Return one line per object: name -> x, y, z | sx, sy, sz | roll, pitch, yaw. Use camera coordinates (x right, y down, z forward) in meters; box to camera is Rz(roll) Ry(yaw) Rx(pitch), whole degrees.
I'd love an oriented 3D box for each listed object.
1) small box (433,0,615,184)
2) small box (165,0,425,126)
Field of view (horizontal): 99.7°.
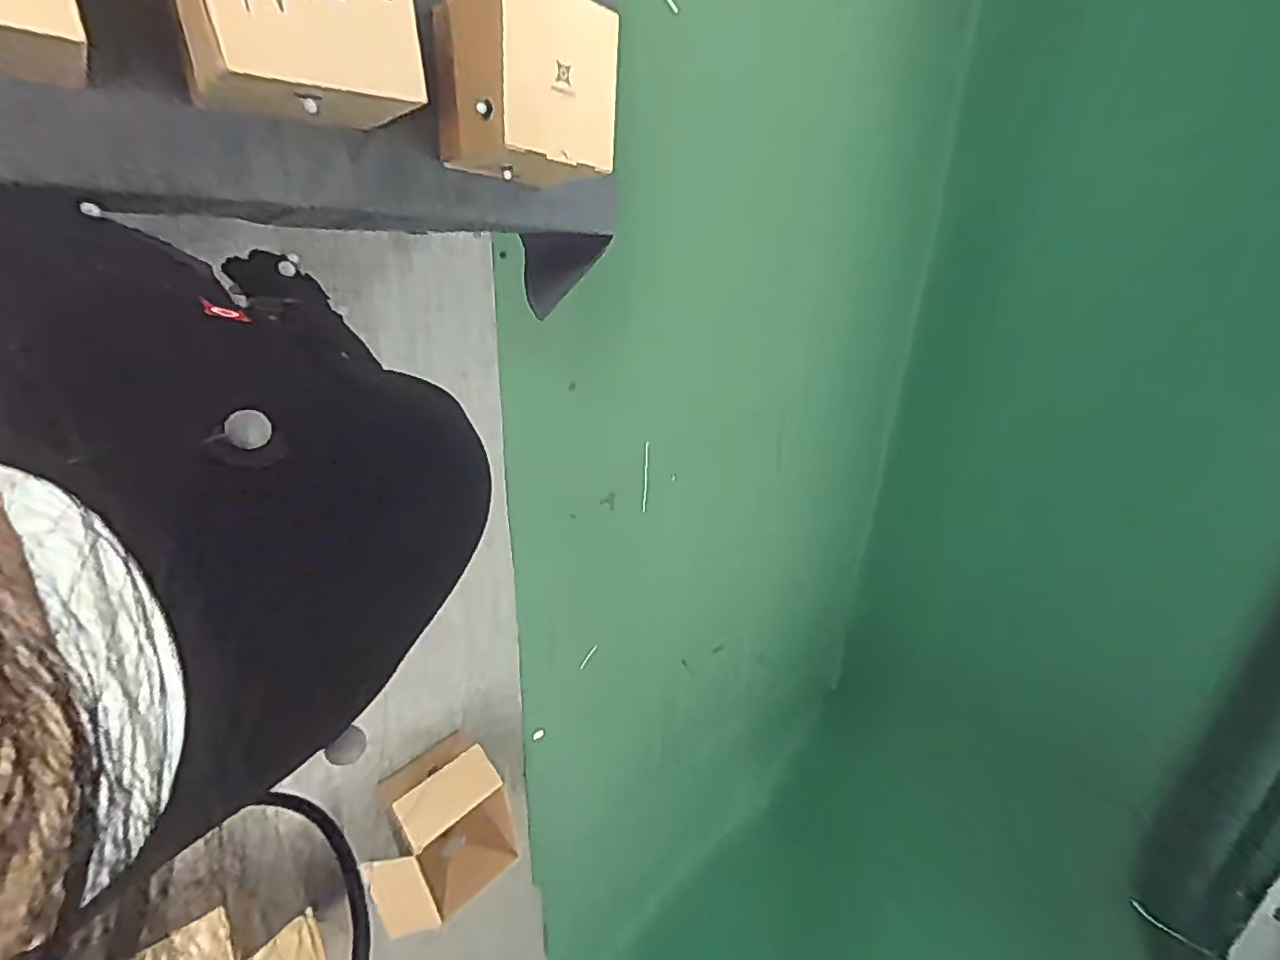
small box -> -0.150, -0.497, 0.692 | 0.168, 0.176, 0.179 | -15, 116, -42
small box -> -0.335, -0.452, 0.512 | 0.179, 0.176, 0.168 | -23, 121, -40
